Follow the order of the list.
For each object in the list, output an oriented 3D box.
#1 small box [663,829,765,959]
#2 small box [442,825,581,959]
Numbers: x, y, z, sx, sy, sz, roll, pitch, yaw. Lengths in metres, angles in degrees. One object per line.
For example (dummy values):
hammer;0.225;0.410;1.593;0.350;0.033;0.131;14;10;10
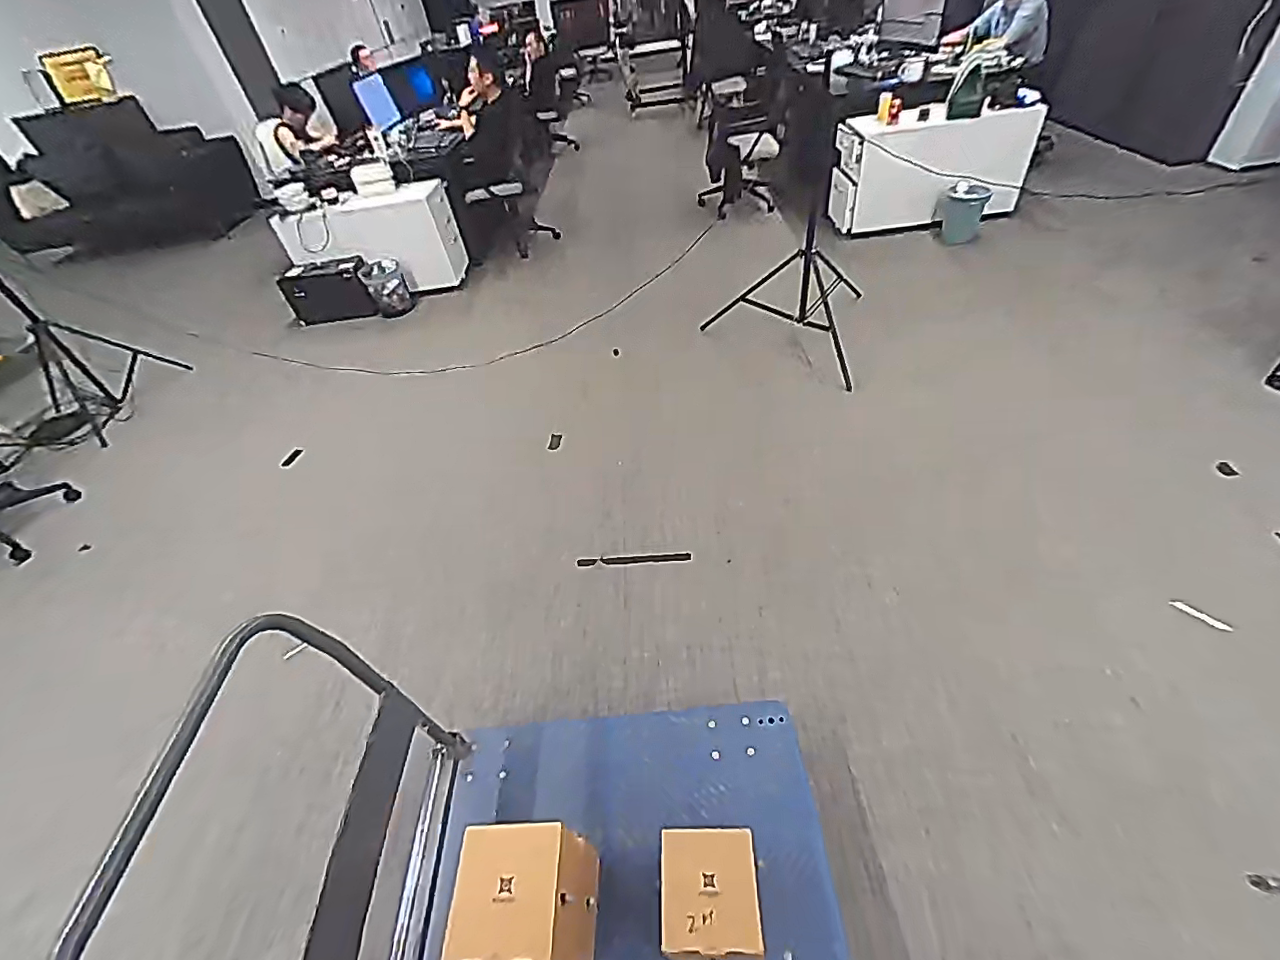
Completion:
small box;0.130;0.757;0.980;0.168;0.176;0.179;-5;44;7
small box;-0.194;0.685;0.878;0.168;0.176;0.179;-6;45;4
